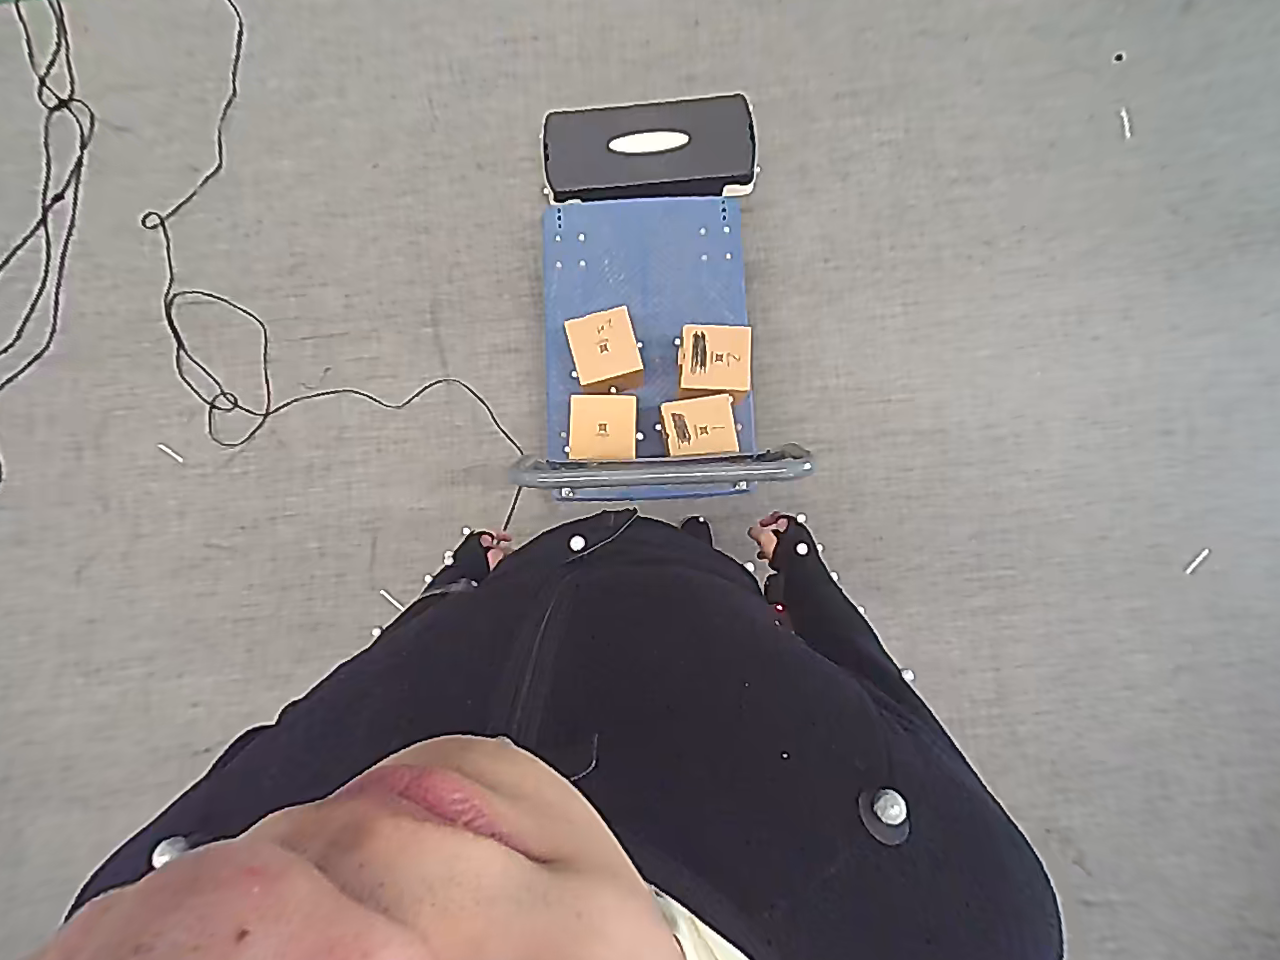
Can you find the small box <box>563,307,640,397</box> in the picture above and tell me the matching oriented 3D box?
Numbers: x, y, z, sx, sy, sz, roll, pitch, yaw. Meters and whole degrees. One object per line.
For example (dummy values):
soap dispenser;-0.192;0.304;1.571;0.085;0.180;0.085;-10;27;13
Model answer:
small box;-0.097;-0.329;1.437;0.168;0.176;0.179;-15;85;-2
